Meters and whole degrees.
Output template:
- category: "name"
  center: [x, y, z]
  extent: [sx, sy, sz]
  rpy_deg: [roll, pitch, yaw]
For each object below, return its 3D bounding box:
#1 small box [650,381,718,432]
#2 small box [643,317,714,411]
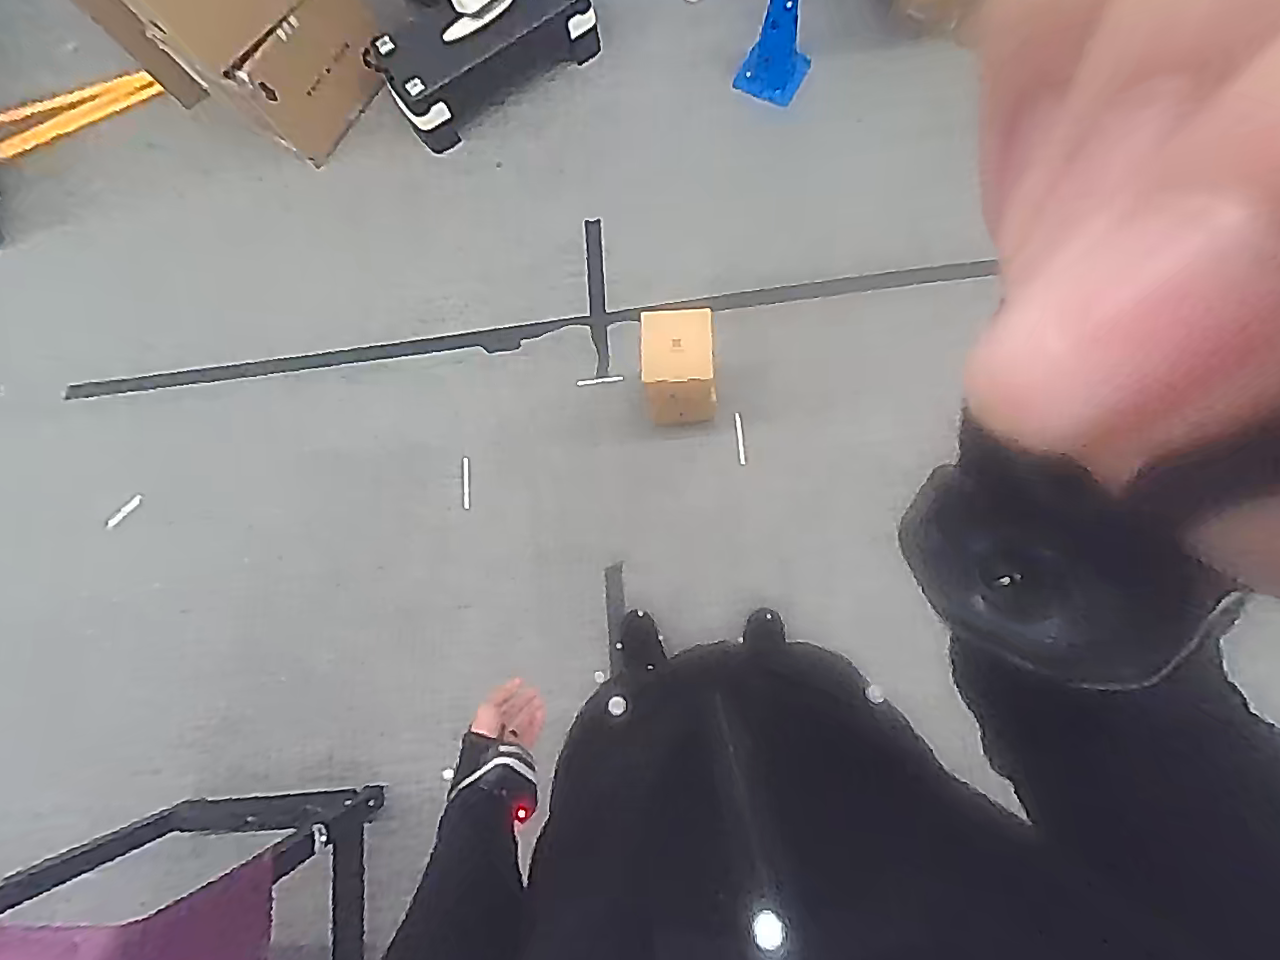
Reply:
- category: "small box"
  center: [0.115, -0.240, 1.488]
  extent: [0.179, 0.176, 0.168]
  rpy_deg: [-7, 79, 5]
- category: "small box"
  center: [0.094, -0.281, 1.332]
  extent: [0.168, 0.176, 0.179]
  rpy_deg: [-2, 80, 5]
